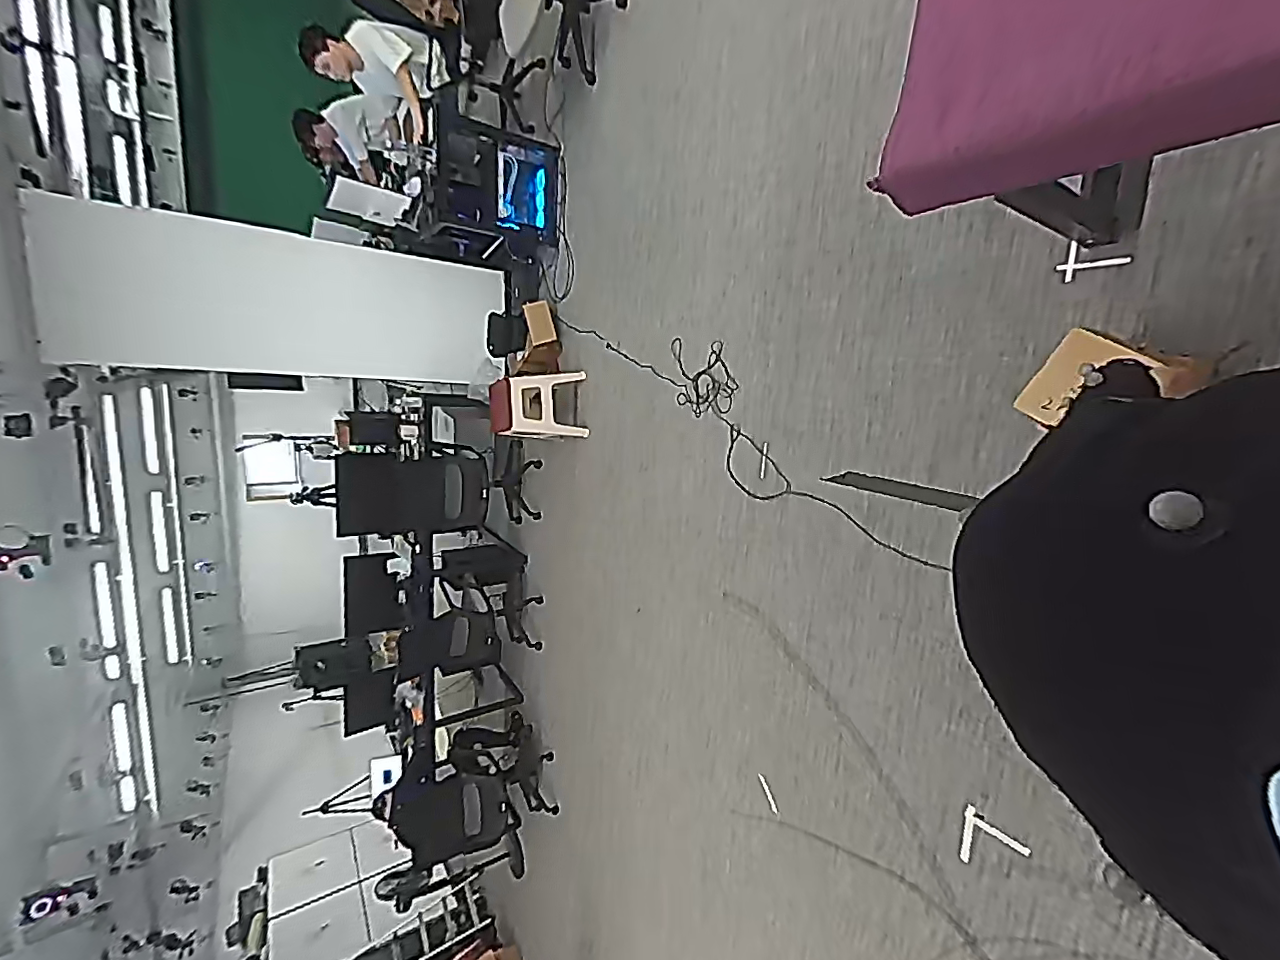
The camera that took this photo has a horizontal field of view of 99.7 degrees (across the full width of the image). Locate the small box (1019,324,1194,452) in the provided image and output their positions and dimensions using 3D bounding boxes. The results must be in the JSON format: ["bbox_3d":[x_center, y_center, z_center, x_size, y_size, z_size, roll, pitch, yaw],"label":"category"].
[{"bbox_3d":[0.876,-0.172,1.016,0.168,0.176,0.179,53,135,39],"label":"small box"}]
